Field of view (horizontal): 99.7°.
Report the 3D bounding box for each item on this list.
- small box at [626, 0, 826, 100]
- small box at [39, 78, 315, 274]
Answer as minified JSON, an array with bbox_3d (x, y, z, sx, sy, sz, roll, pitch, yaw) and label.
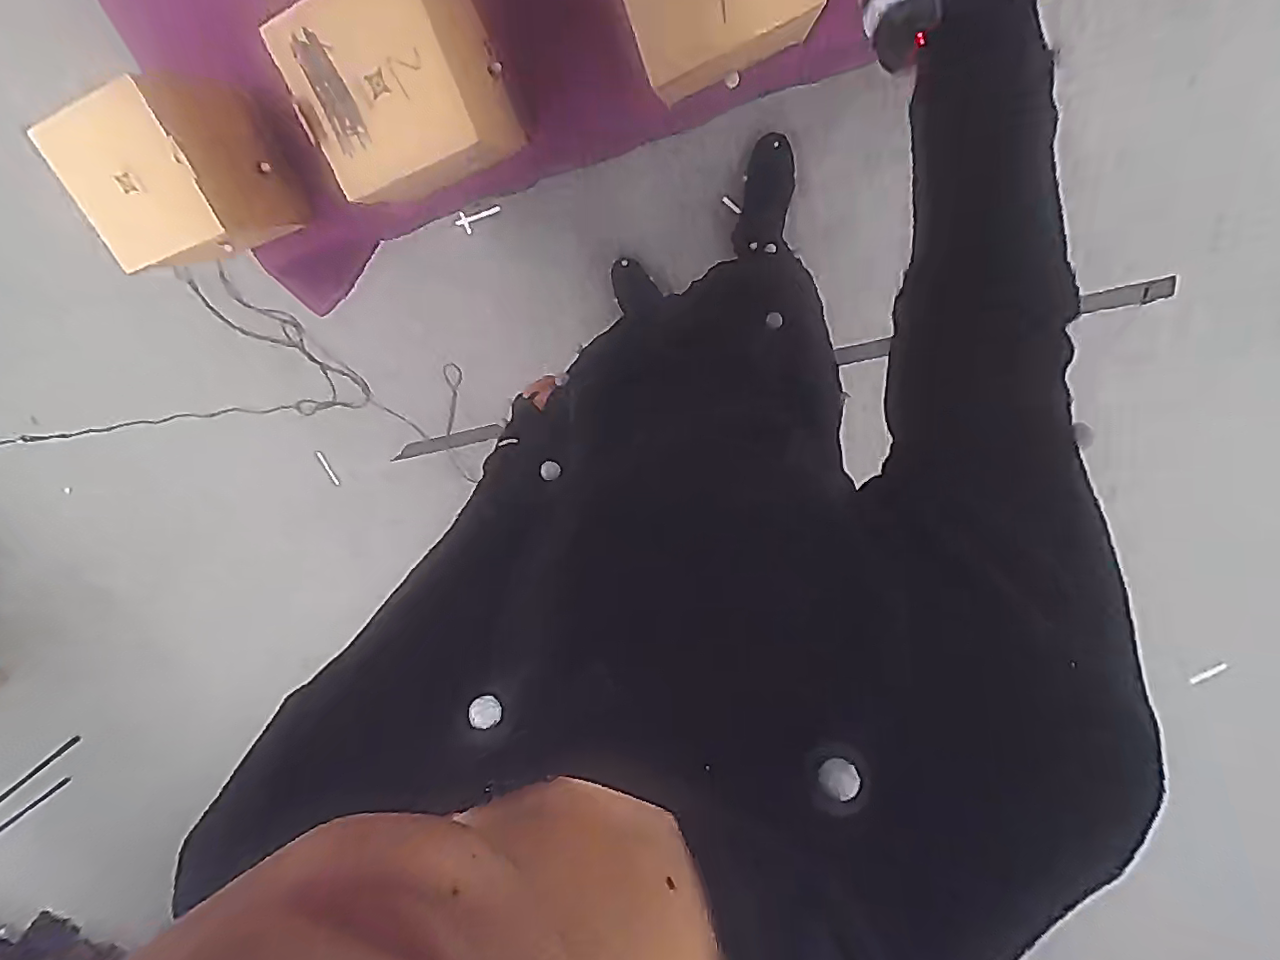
[{"bbox_3d":[0.068,-0.502,0.522,0.168,0.176,0.179,-14,118,18],"label":"small box"},{"bbox_3d":[-0.580,-0.385,0.705,0.179,0.176,0.168,-12,117,15],"label":"small box"}]
